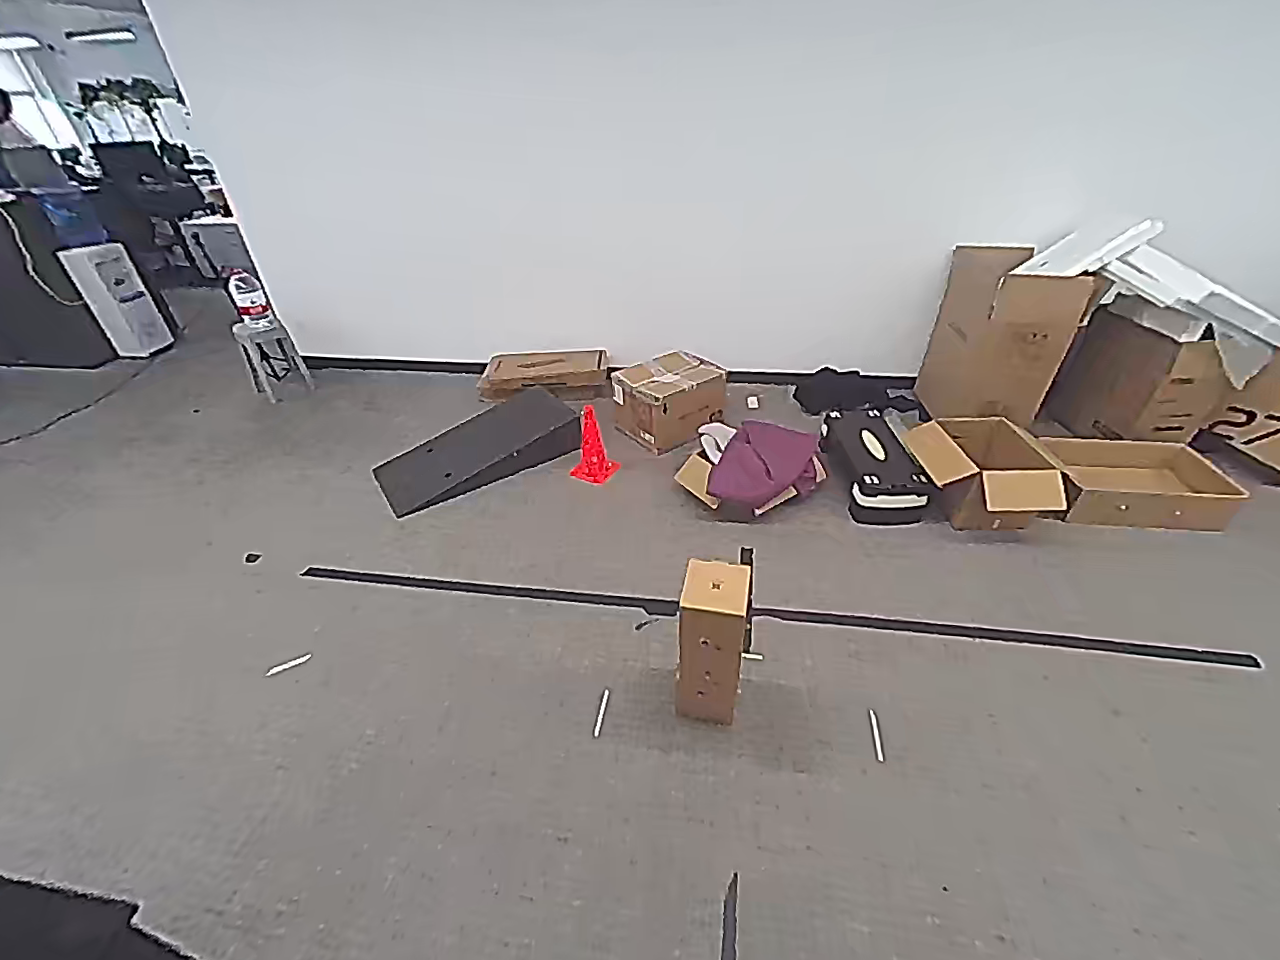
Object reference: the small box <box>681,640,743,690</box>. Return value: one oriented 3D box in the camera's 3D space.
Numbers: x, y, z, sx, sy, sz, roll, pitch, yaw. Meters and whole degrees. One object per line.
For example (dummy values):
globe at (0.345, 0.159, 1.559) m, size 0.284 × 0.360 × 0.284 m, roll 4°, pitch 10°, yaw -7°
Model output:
small box at (0.209, 0.462, 1.534) m, size 0.168 × 0.176 × 0.179 m, roll 6°, pitch 37°, yaw 12°

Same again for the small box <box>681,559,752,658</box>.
small box at (0.201, 0.338, 1.428) m, size 0.168 × 0.176 × 0.179 m, roll 6°, pitch 37°, yaw 12°

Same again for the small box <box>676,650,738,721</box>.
small box at (0.207, 0.598, 1.627) m, size 0.179 × 0.176 × 0.168 m, roll 7°, pitch 37°, yaw 11°
